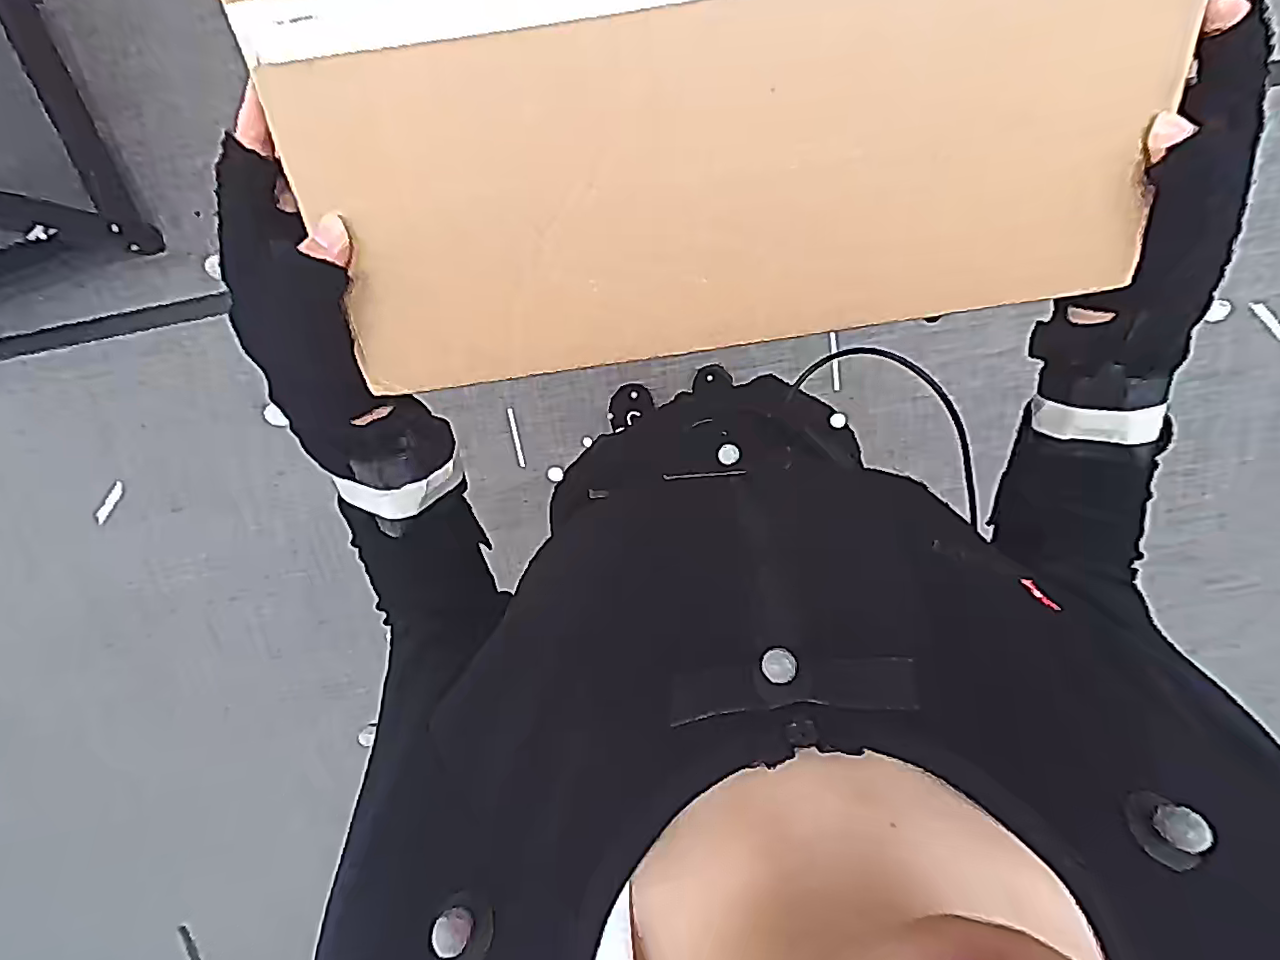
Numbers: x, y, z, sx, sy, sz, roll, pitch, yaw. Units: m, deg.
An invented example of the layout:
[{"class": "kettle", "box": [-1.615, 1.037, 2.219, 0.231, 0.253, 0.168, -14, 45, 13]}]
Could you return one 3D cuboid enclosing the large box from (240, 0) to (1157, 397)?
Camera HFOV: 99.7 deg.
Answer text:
[{"class": "large box", "box": [0.025, -0.277, 0.364, 0.408, 0.320, 0.320, -8, 116, 1]}]
